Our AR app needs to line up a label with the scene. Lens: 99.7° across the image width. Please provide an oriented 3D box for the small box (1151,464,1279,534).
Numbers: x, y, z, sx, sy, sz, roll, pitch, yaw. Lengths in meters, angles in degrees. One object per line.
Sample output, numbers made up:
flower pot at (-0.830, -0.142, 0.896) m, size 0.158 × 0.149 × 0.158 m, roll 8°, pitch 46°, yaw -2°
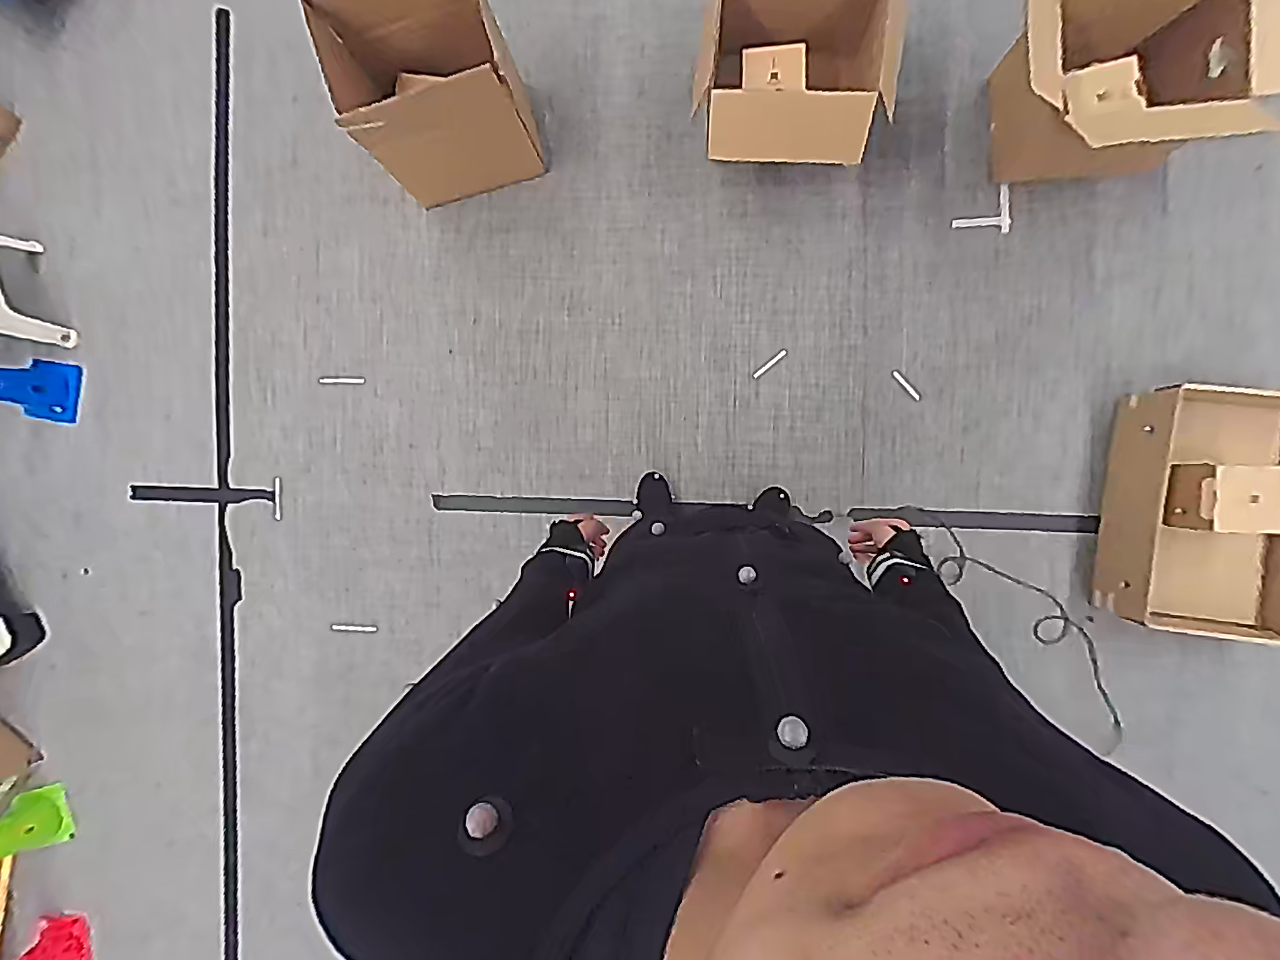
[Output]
small box at (1.470, 0.045, 1.385) m, size 0.179 × 0.176 × 0.168 m, roll 1°, pitch 92°, yaw 5°
